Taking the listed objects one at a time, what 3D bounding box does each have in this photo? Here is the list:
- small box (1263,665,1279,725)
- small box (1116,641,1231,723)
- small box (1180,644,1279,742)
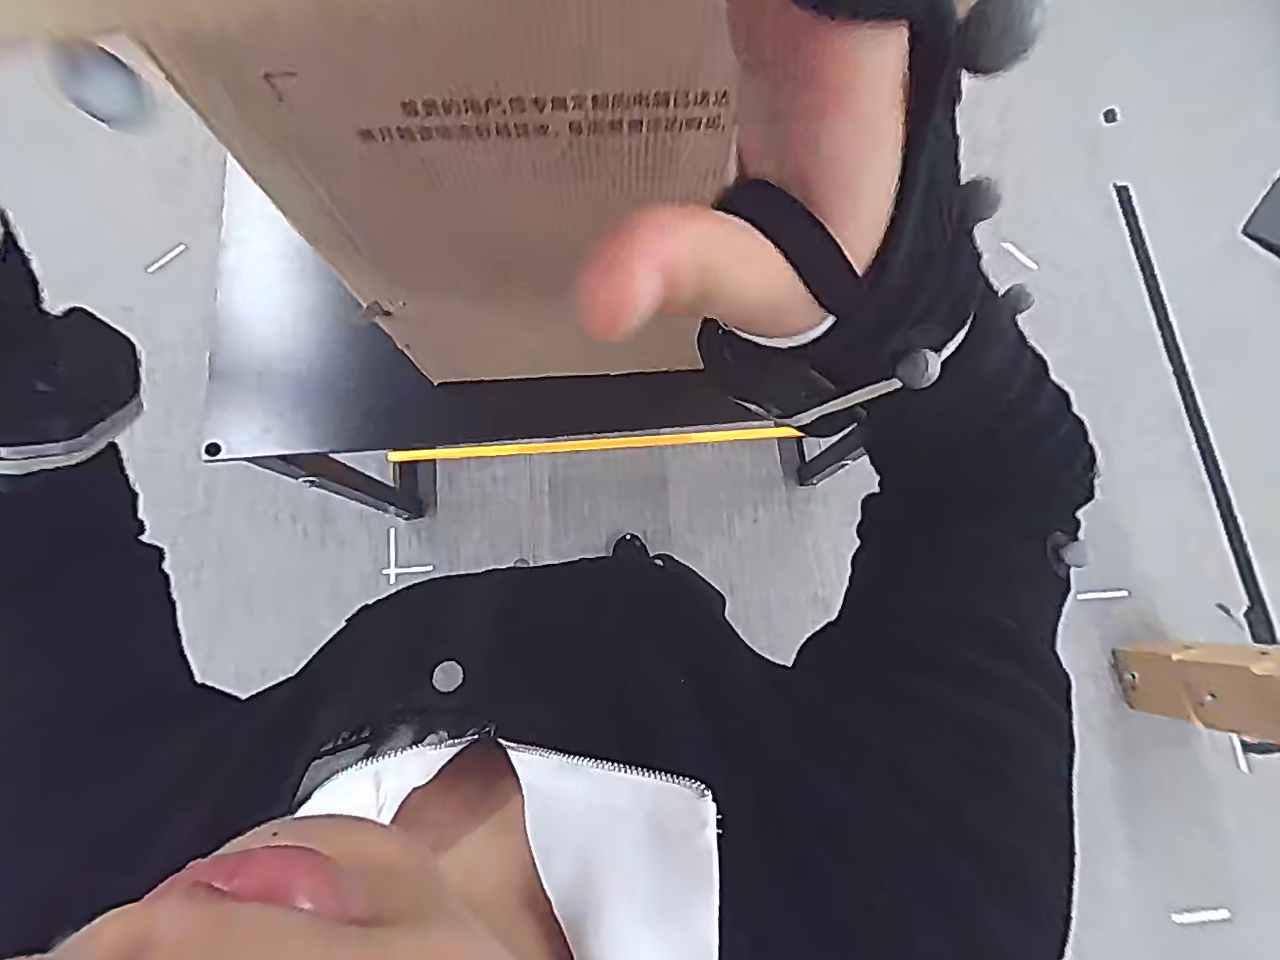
[{"bbox_3d":[1.431,0.457,1.083,0.179,0.176,0.168,-14,77,-5],"label":"small box"},{"bbox_3d":[1.411,0.517,1.406,0.179,0.176,0.168,-8,77,-2],"label":"small box"},{"bbox_3d":[1.428,0.482,1.246,0.179,0.176,0.168,-12,77,-4],"label":"small box"}]
